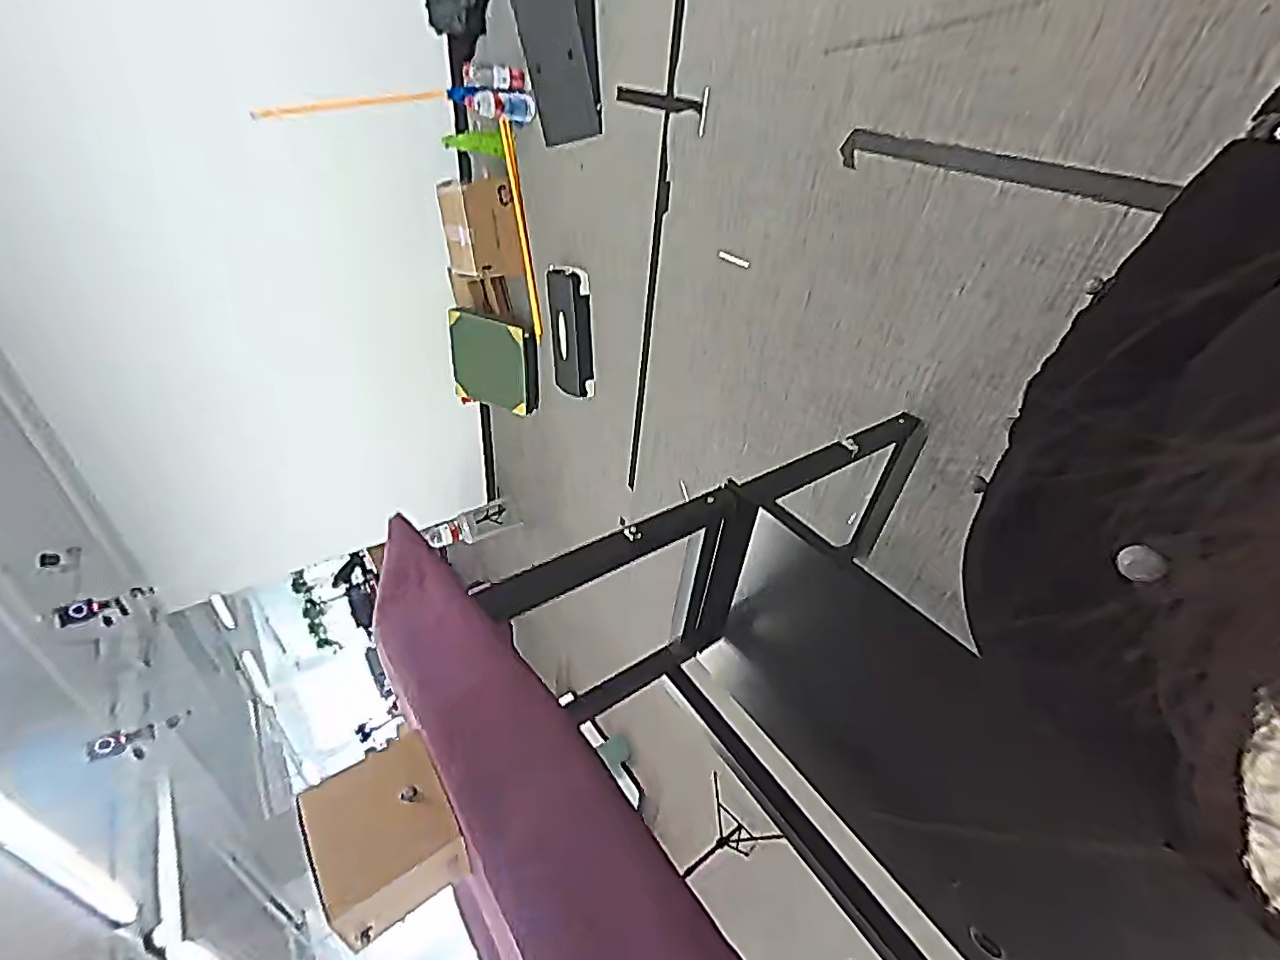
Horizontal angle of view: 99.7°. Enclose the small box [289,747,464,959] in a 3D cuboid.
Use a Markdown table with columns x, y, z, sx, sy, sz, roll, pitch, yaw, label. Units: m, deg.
| x | y | z | sx | sy | sz | roll | pitch | yaw | label |
| --- | --- | --- | --- | --- | --- | --- | --- | --- | --- |
| -0.363 | 0.511 | 0.762 | 0.179 | 0.176 | 0.168 | 44 | 141 | 36 | small box |
